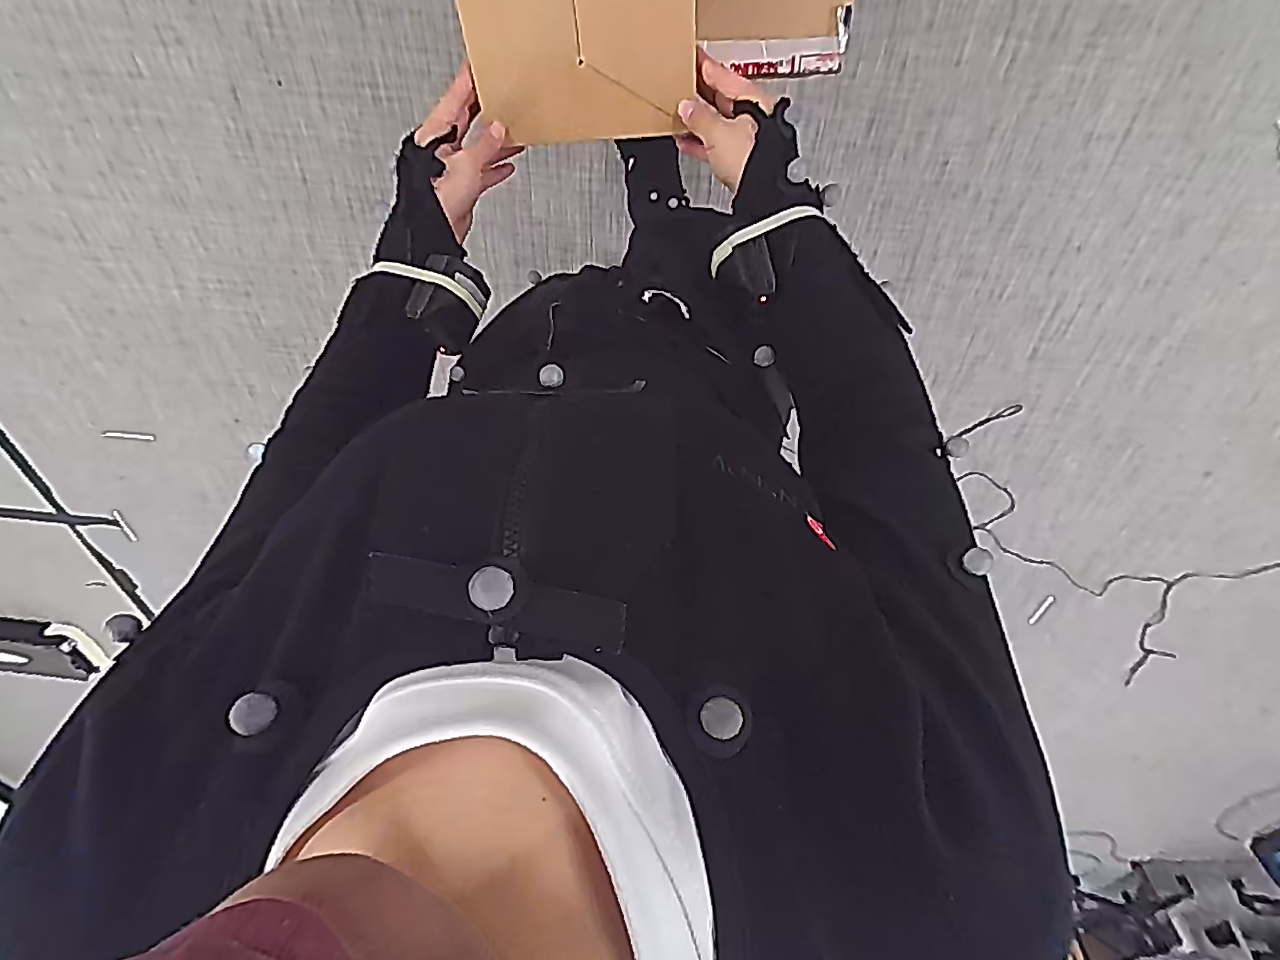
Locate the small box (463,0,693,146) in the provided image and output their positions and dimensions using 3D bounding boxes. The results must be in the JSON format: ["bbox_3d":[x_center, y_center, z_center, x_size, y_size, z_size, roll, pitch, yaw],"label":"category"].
[{"bbox_3d":[-0.045,-0.397,0.461,0.179,0.176,0.168,0,131,6],"label":"small box"}]
